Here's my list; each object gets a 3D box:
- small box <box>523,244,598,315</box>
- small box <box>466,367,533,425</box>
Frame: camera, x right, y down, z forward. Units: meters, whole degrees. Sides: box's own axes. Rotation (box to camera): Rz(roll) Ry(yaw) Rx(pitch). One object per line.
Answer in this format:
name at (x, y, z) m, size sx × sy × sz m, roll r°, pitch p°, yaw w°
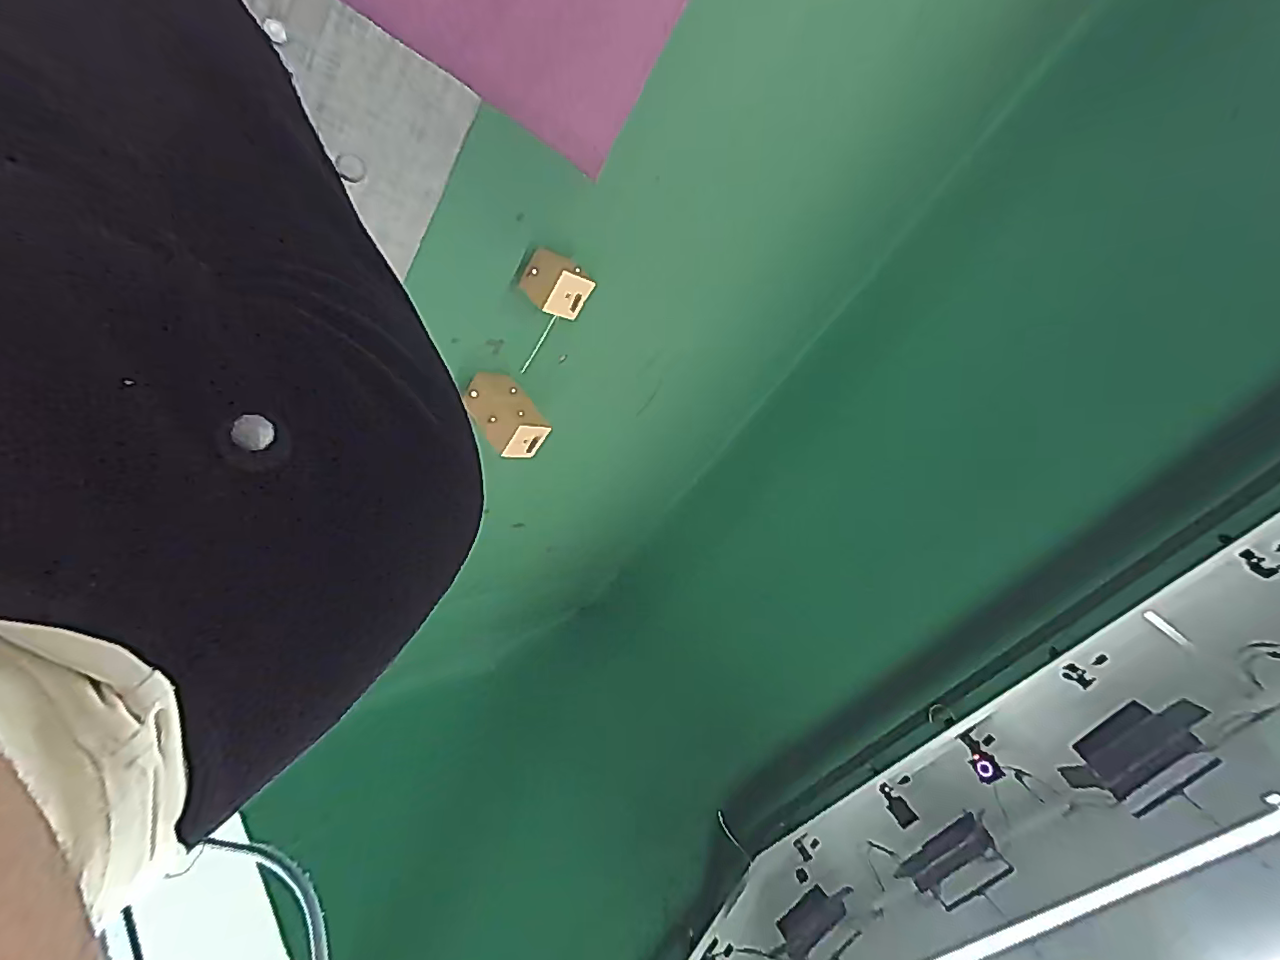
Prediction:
small box at (-0.294, -0.737, 1.989) m, size 0.179 × 0.176 × 0.168 m, roll -3°, pitch 136°, yaw -54°
small box at (-0.585, -0.347, 2.243) m, size 0.168 × 0.176 × 0.179 m, roll -51°, pitch 155°, yaw 24°
